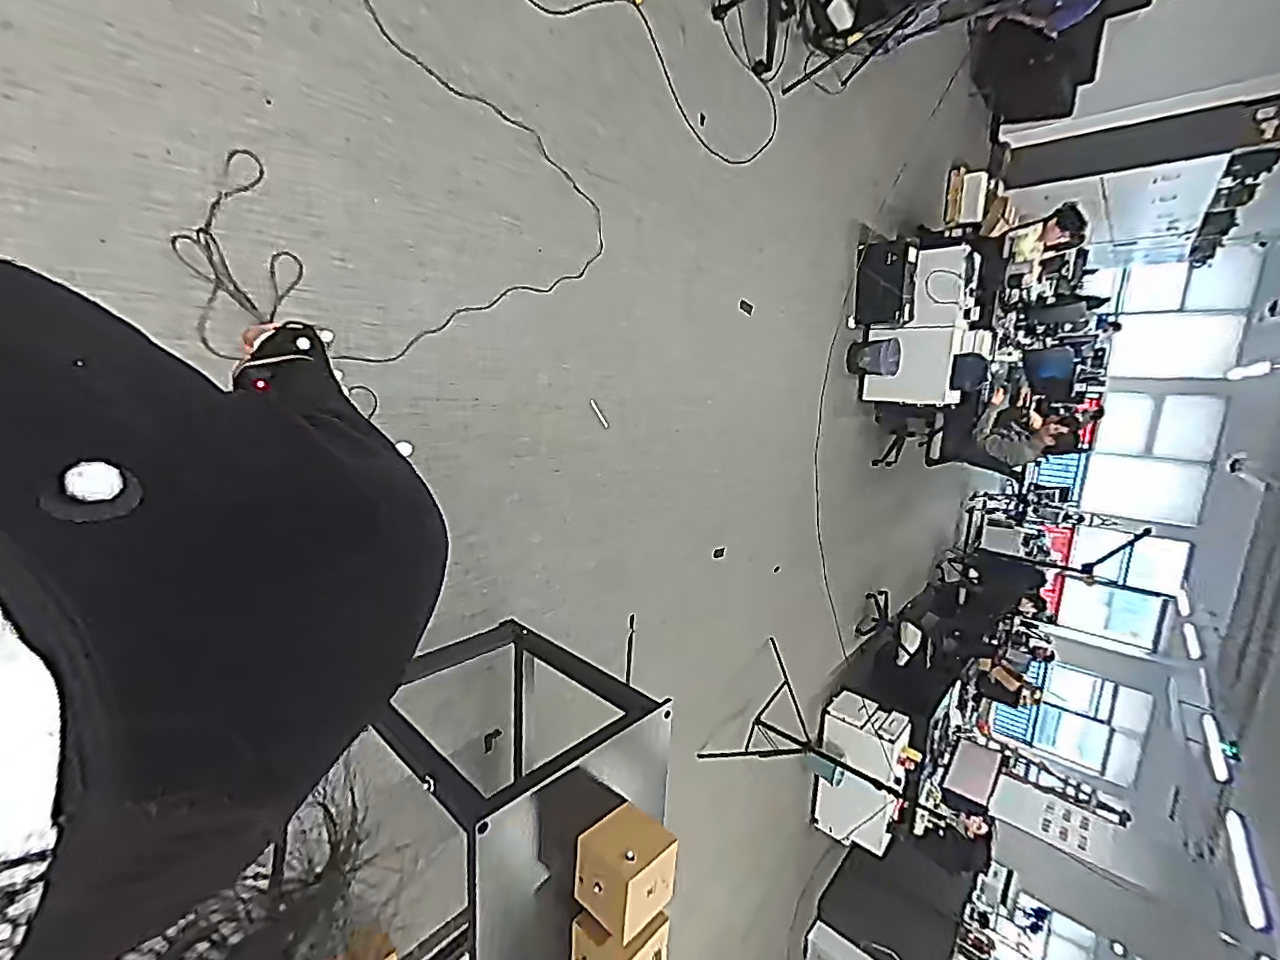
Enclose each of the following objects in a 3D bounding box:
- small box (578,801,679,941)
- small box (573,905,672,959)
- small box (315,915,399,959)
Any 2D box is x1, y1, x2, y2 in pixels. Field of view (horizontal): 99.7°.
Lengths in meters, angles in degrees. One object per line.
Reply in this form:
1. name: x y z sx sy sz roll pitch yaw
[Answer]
1. small box: -0.031 0.917 1.288 0.179 0.176 0.168 -5 103 -48
2. small box: -0.044 1.138 1.326 0.179 0.176 0.168 -9 106 -46
3. small box: -0.841 1.469 1.615 0.179 0.176 0.168 -11 106 -47
